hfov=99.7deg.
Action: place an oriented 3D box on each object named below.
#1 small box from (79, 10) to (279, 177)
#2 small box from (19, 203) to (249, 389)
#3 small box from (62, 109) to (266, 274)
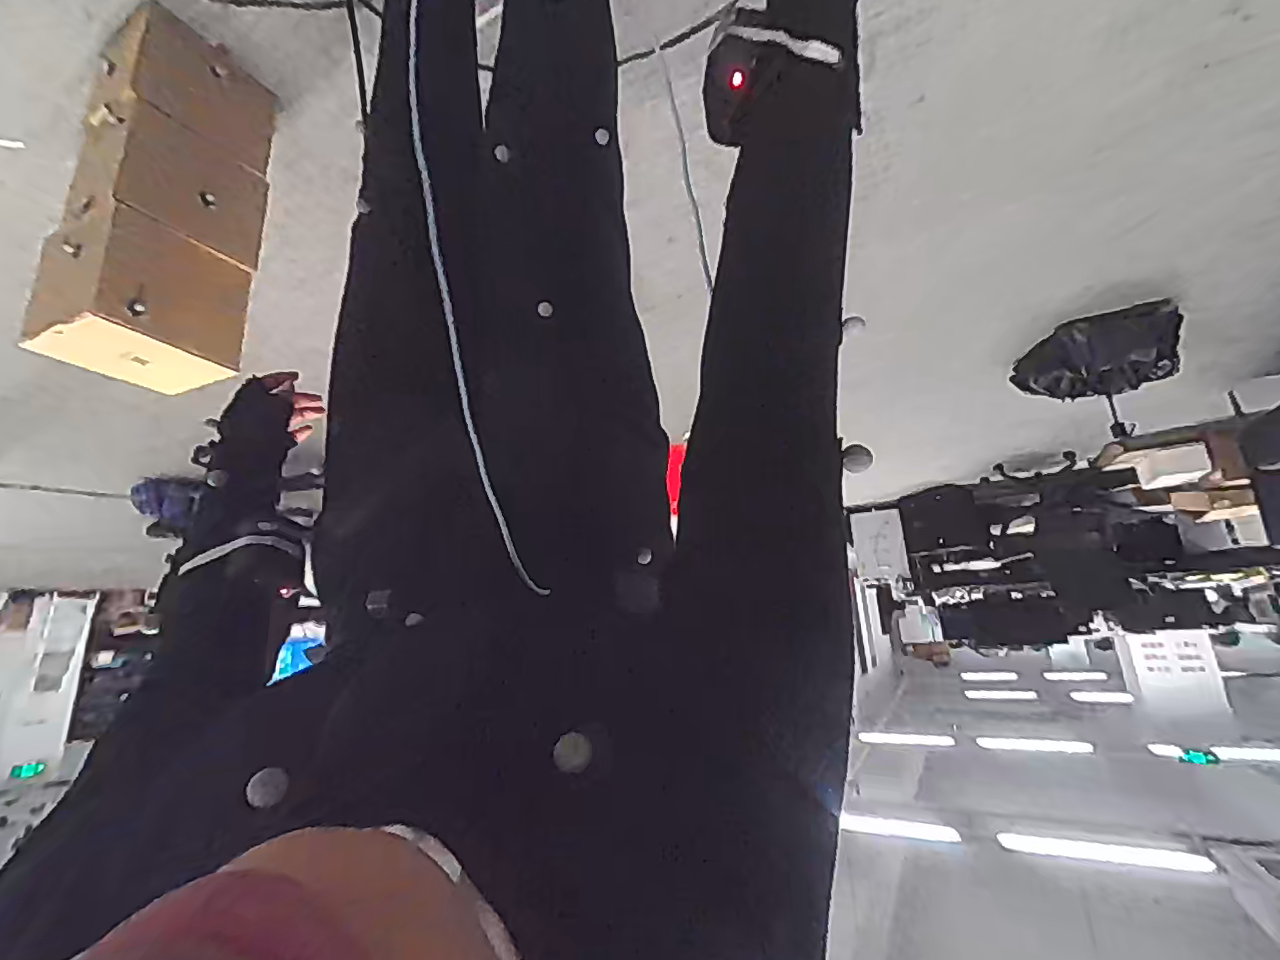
[{"bbox_3d":[-0.707,-0.571,0.842,0.168,0.176,0.179,-8,164,29],"label":"small box"},{"bbox_3d":[-0.700,-0.250,0.769,0.168,0.176,0.179,-8,164,20],"label":"small box"},{"bbox_3d":[-0.700,-0.408,0.807,0.168,0.176,0.179,-10,165,24],"label":"small box"}]
